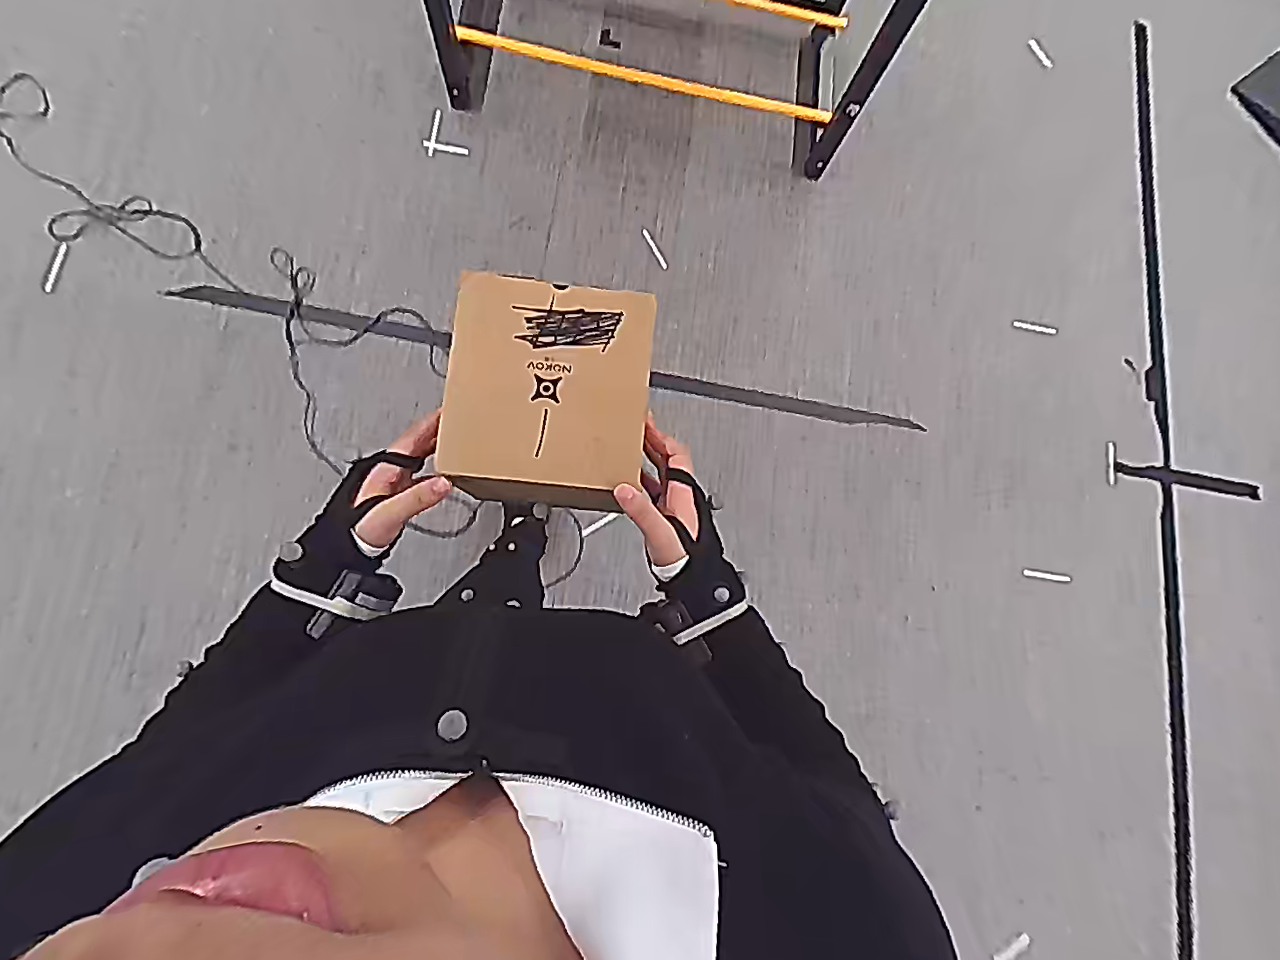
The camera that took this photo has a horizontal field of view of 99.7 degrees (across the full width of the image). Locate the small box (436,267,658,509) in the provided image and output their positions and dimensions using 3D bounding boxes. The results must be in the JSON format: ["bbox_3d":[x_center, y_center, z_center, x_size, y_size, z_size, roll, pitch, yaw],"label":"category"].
[{"bbox_3d":[-0.081,-0.074,0.524,0.168,0.176,0.179,6,80,-4],"label":"small box"}]
